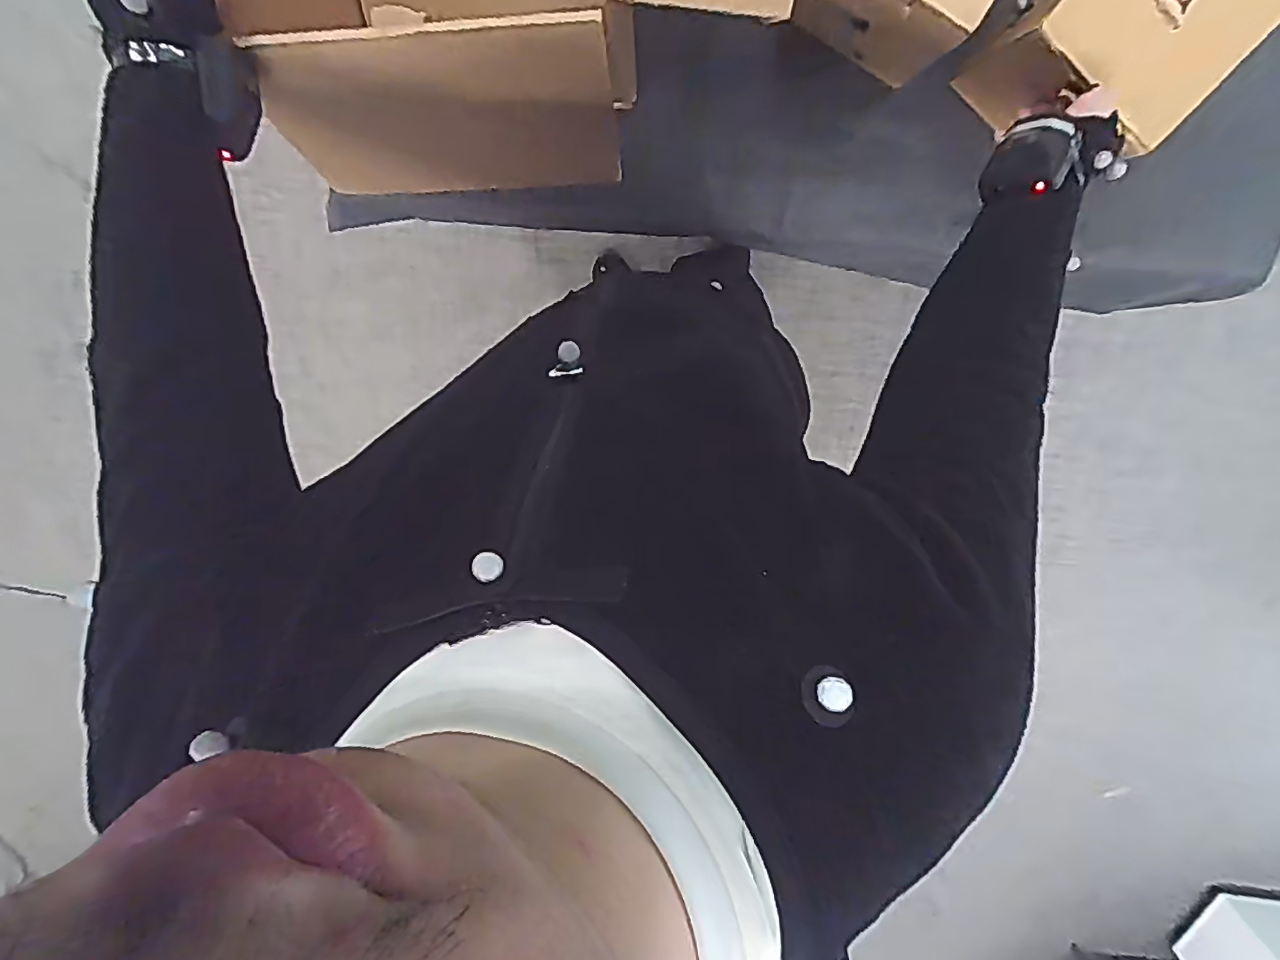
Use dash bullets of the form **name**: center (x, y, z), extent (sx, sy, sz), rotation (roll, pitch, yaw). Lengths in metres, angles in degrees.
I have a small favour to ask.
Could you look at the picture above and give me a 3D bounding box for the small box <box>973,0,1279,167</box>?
- **small box**: center (0.476, -0.449, 0.541), extent (0.168, 0.176, 0.179), rotation (34, 110, -12)
